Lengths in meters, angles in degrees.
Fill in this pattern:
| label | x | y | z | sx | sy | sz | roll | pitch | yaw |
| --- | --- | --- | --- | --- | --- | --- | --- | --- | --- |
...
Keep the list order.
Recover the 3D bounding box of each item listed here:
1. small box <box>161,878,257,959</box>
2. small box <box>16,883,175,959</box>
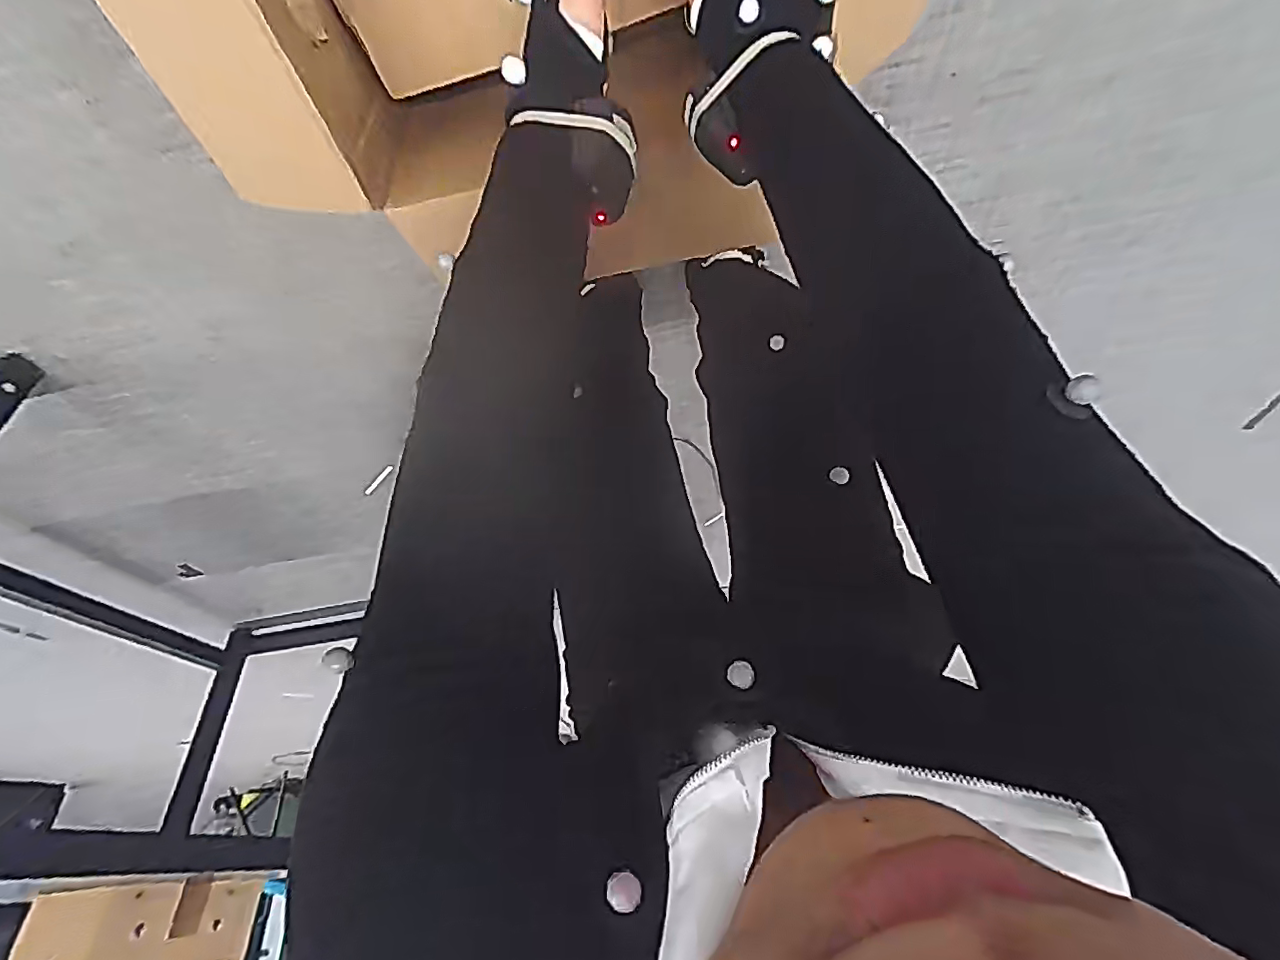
| label | x | y | z | sx | sy | sz | roll | pitch | yaw |
| --- | --- | --- | --- | --- | --- | --- | --- | --- | --- |
| small box | -1.046 | 1.047 | 1.273 | 0.179 | 0.176 | 0.168 | -10 | 143 | 6 |
| small box | -1.084 | 0.915 | 1.077 | 0.179 | 0.176 | 0.168 | -10 | 144 | 4 |
